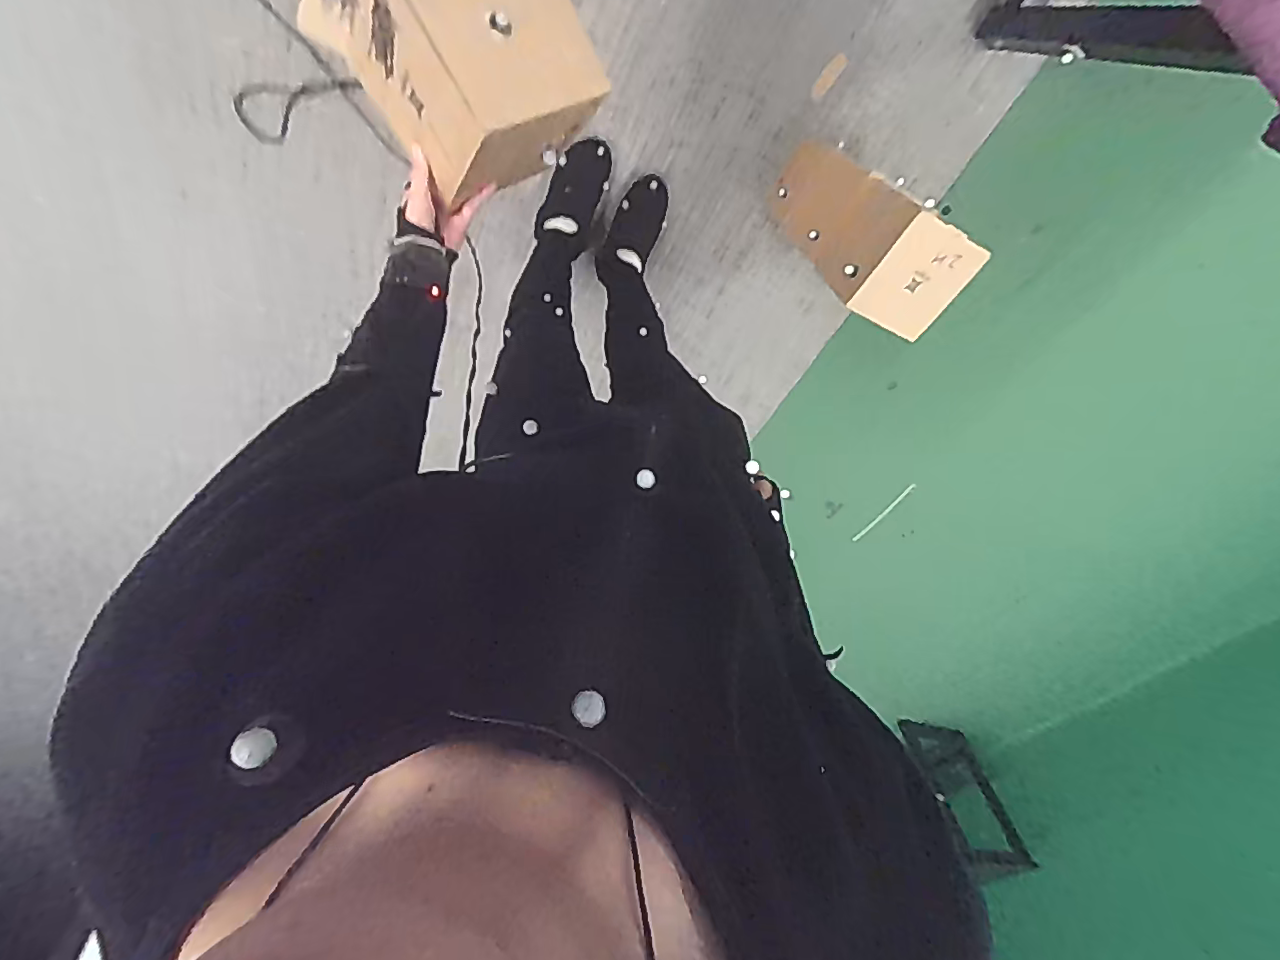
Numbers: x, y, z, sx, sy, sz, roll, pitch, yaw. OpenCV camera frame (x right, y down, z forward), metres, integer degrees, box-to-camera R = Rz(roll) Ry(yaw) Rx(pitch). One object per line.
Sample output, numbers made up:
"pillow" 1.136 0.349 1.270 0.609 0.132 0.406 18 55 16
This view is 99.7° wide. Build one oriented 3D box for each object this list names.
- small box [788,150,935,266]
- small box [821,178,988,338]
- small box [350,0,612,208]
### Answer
"small box" 0.417 -0.506 1.053 0.168 0.176 0.179 17 128 -22
"small box" 0.442 -0.386 0.942 0.168 0.176 0.179 17 128 -22
"small box" -0.163 -0.425 0.560 0.176 0.168 0.179 -40 110 -25
